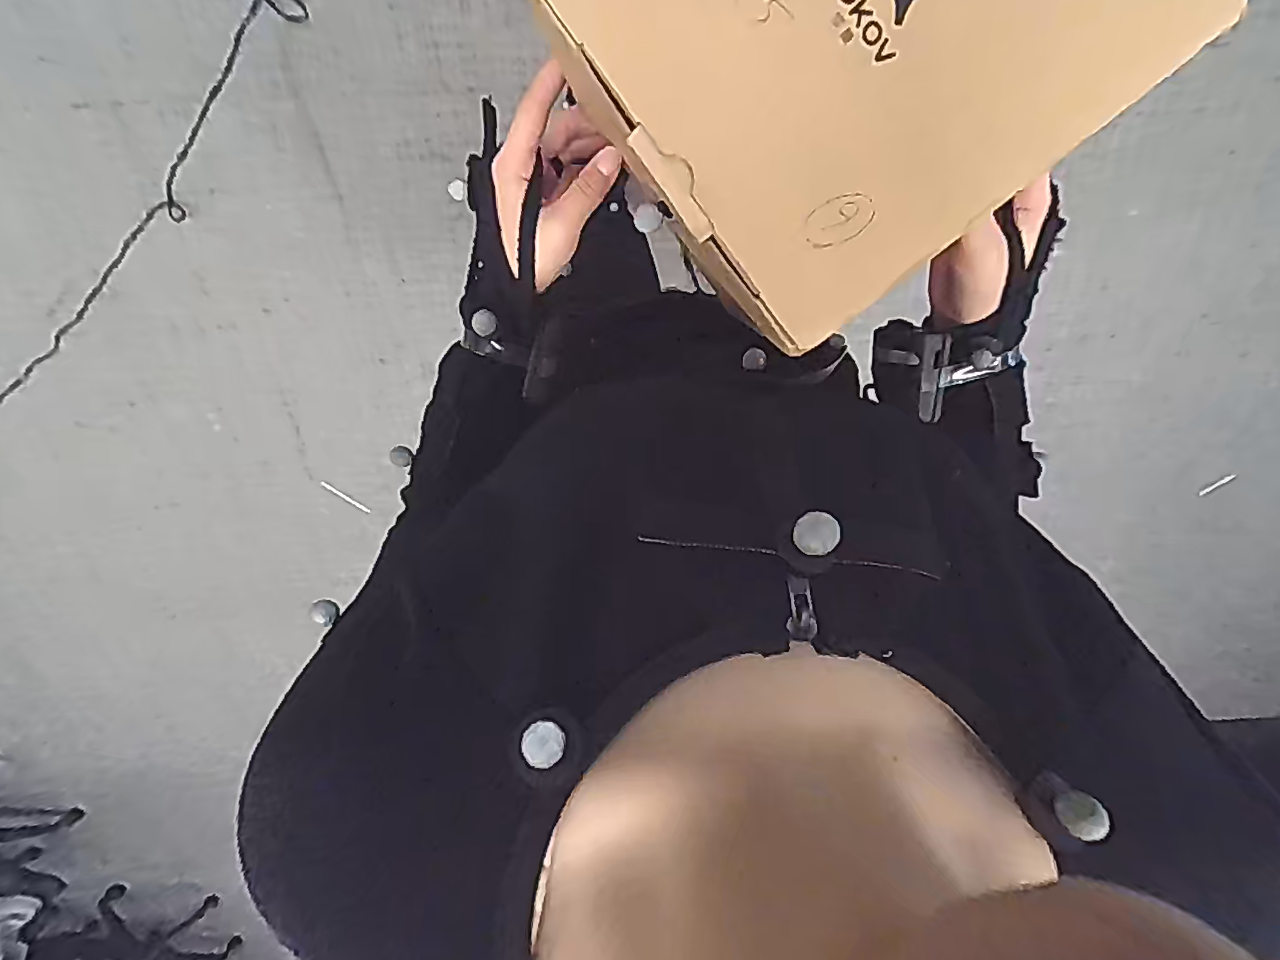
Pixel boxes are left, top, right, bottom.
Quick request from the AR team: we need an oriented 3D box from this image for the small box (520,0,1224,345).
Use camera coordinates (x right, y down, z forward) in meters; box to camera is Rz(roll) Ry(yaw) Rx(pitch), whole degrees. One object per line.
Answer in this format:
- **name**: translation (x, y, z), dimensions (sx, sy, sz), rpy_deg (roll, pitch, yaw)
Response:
- **small box**: translation (0.075, -0.190, 0.249), dimensions (0.179, 0.176, 0.168), rpy_deg (-37, 107, 15)
